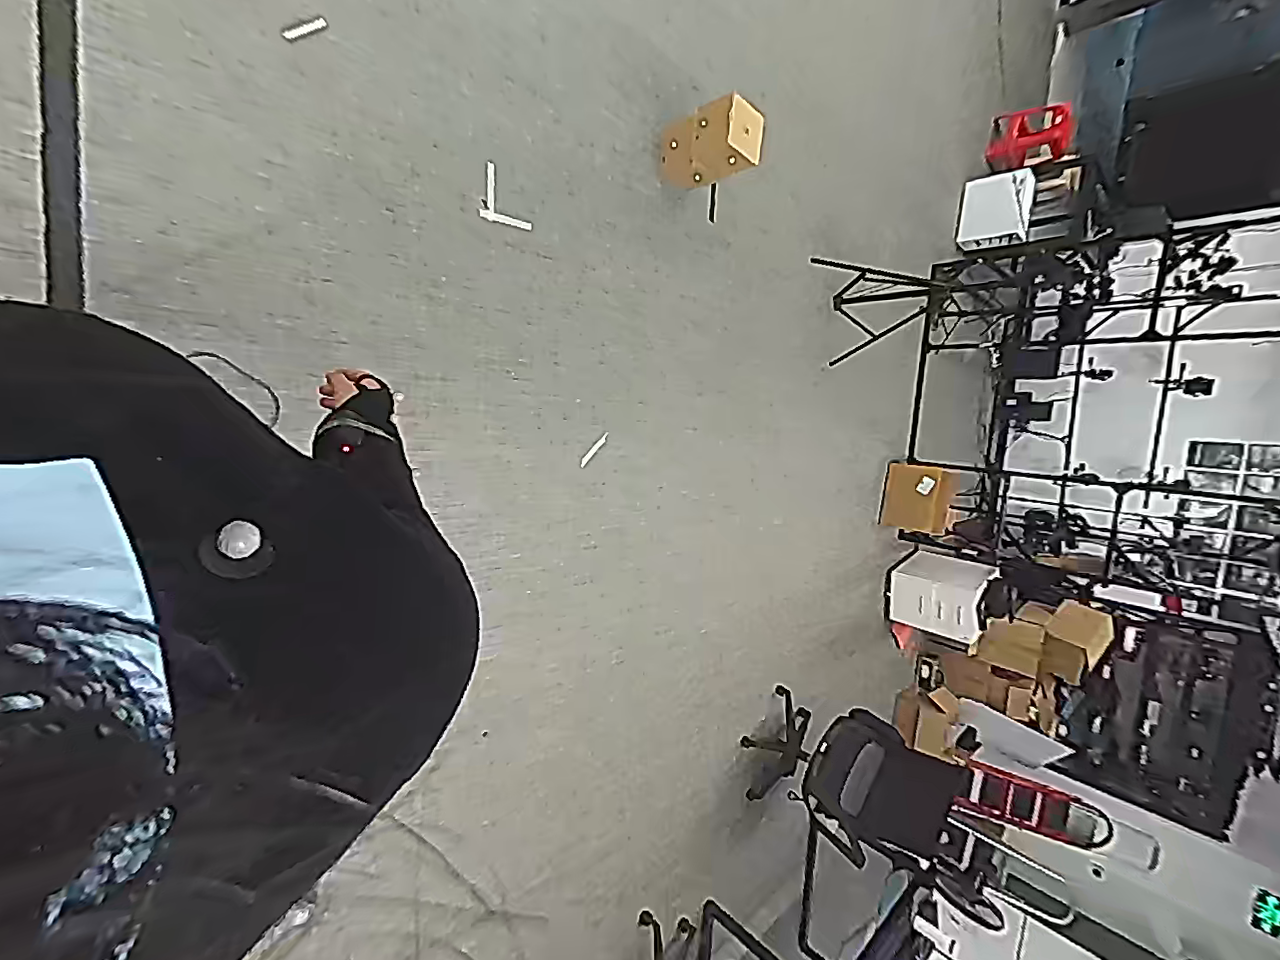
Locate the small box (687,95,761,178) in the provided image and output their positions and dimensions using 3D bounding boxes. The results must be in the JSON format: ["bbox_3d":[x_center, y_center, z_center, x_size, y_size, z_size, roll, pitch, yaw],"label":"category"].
[{"bbox_3d":[0.291,-1.176,1.872,0.179,0.176,0.168,4,94,-44],"label":"small box"}]

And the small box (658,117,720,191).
[{"bbox_3d":[0.181,-1.191,1.992,0.179,0.176,0.168,-5,101,-44],"label":"small box"}]
